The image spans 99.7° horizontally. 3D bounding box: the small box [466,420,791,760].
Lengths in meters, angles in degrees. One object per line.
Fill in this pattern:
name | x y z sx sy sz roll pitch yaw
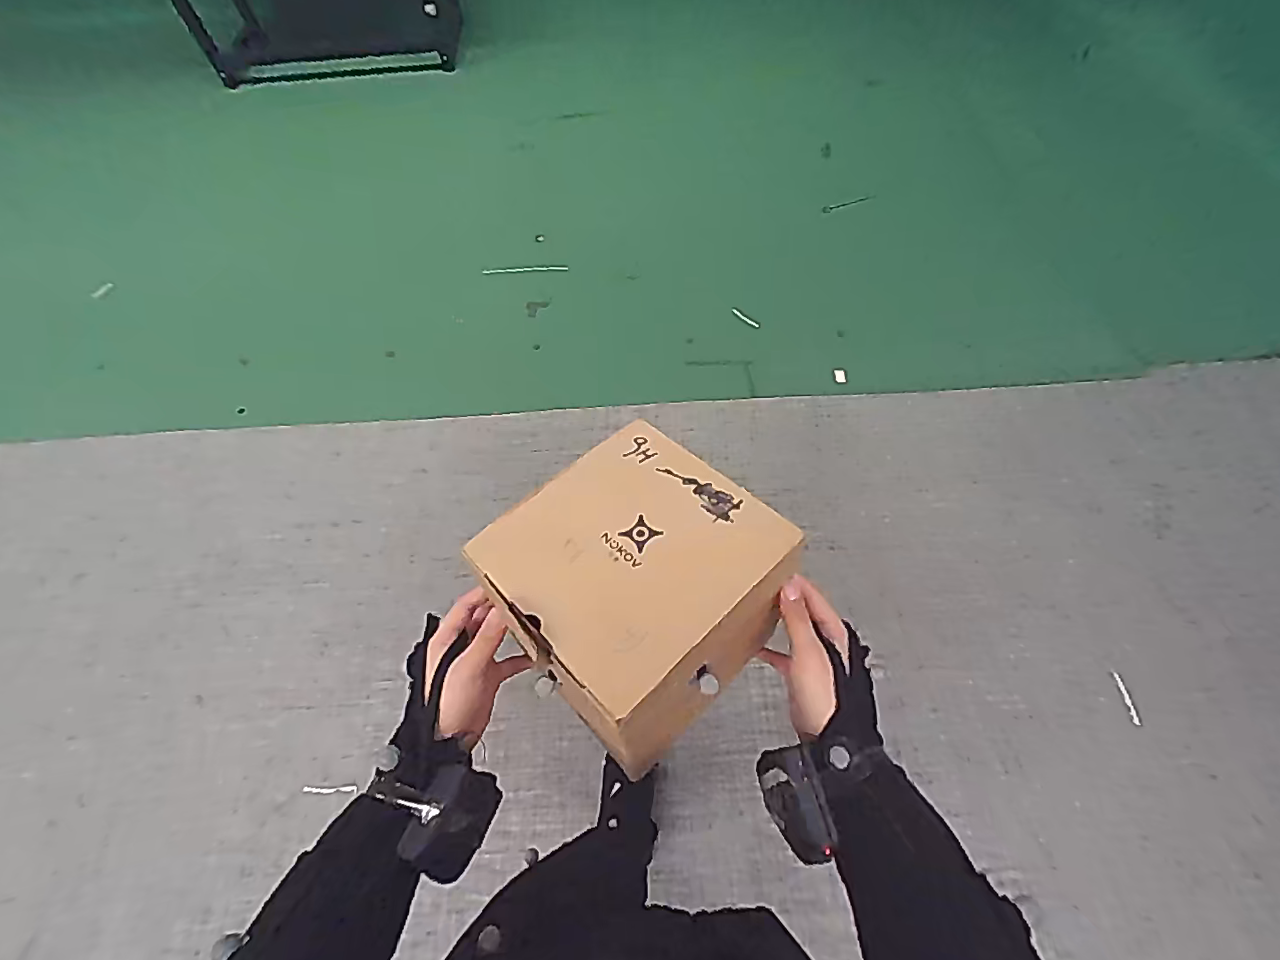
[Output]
small box | -0.002 0.091 0.441 0.179 0.176 0.168 -39 58 -23
